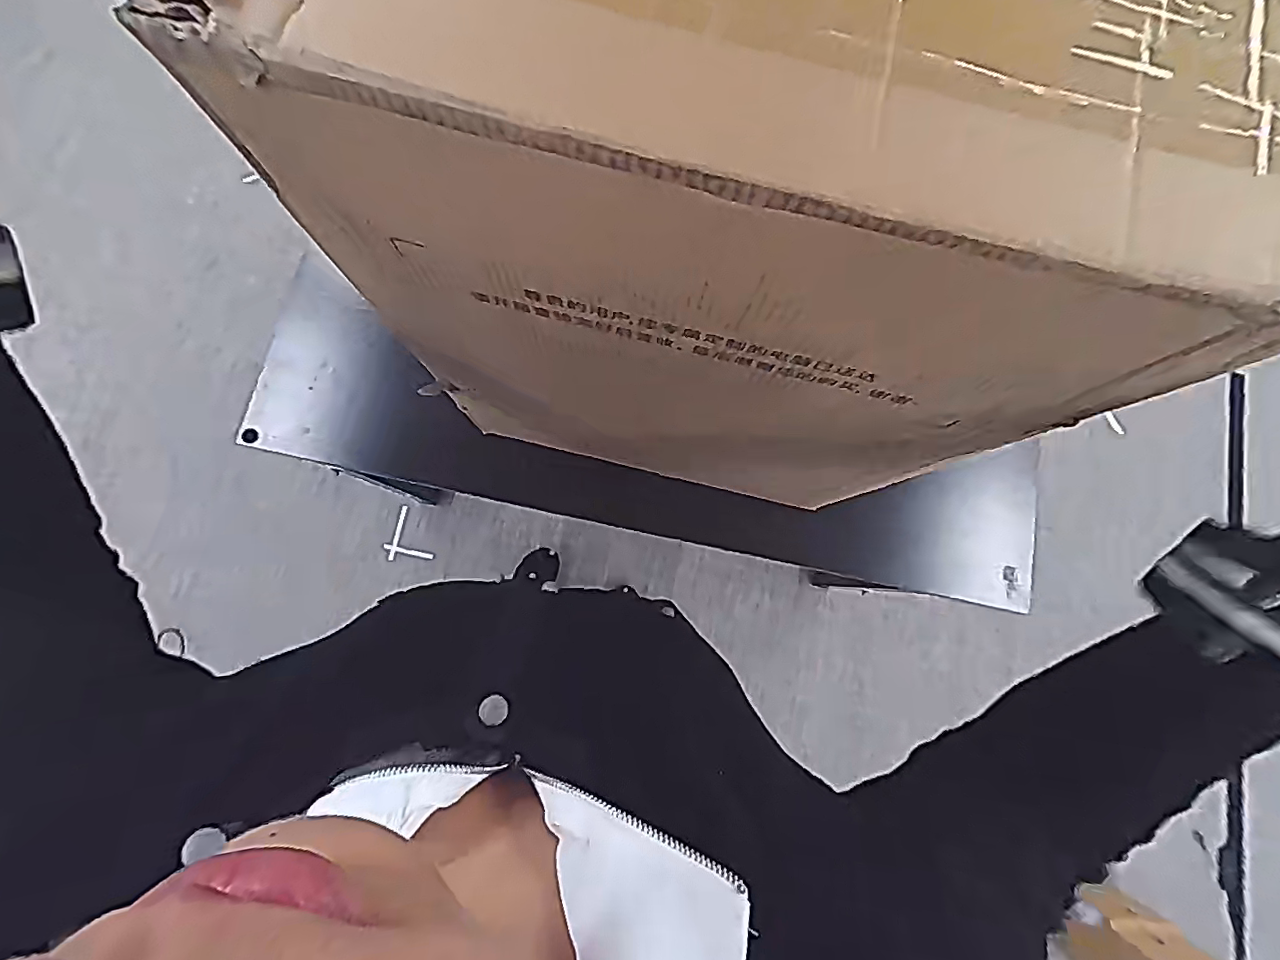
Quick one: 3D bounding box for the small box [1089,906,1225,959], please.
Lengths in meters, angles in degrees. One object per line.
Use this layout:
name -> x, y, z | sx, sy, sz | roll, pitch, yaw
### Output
small box -> 1.218, 1.151, 1.280 | 0.179, 0.176, 0.168 | 6, 79, -1
